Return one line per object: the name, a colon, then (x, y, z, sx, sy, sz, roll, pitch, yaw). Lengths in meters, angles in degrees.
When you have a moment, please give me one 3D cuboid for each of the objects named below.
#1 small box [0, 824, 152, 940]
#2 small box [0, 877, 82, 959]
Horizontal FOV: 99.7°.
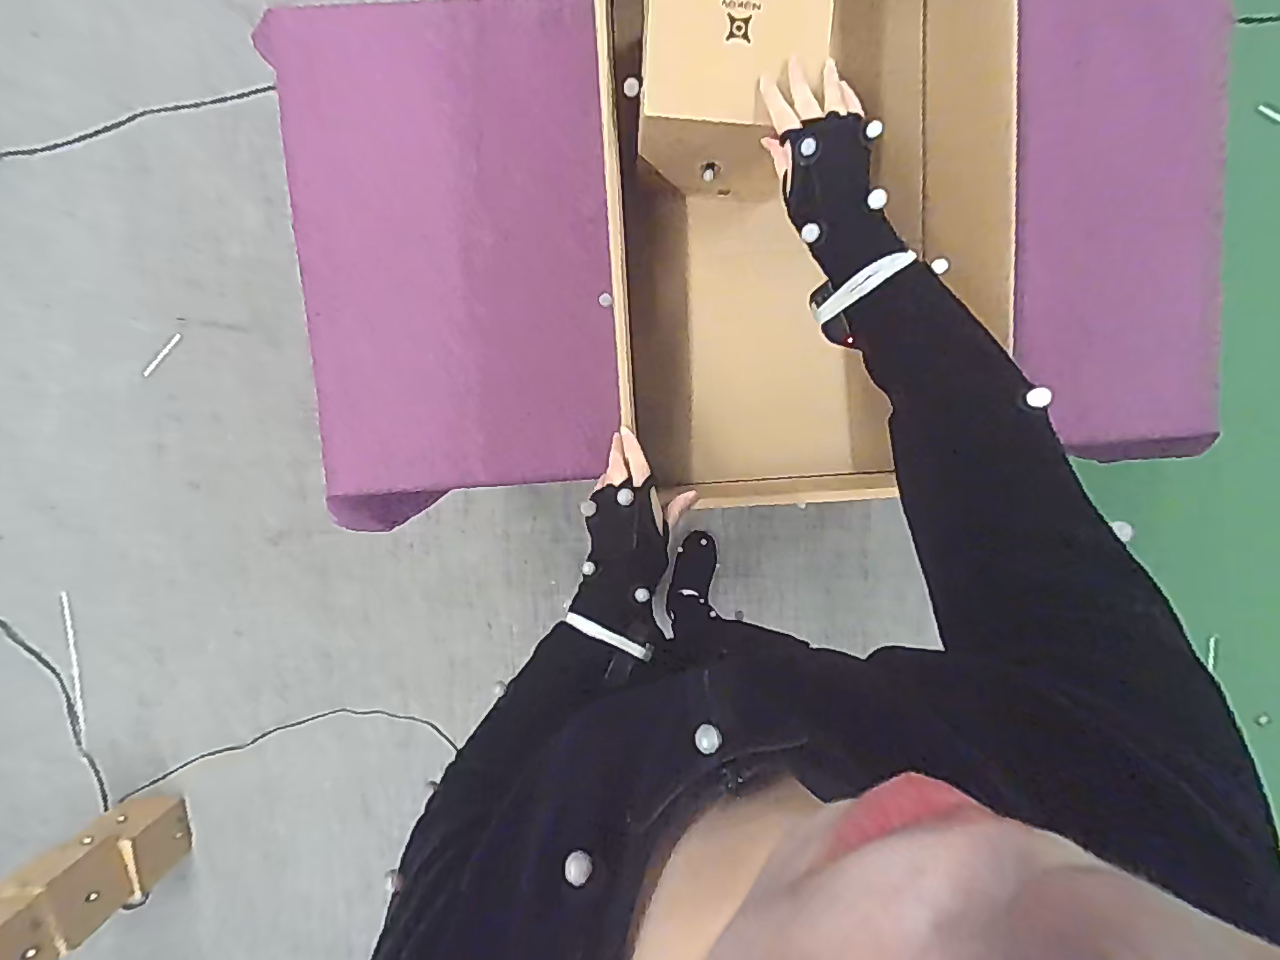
small box: (-1.351, 0.971, 1.307, 0.168, 0.176, 0.179, -14, 96, 2)
small box: (-1.366, 0.990, 1.145, 0.179, 0.176, 0.168, -11, 95, 0)
